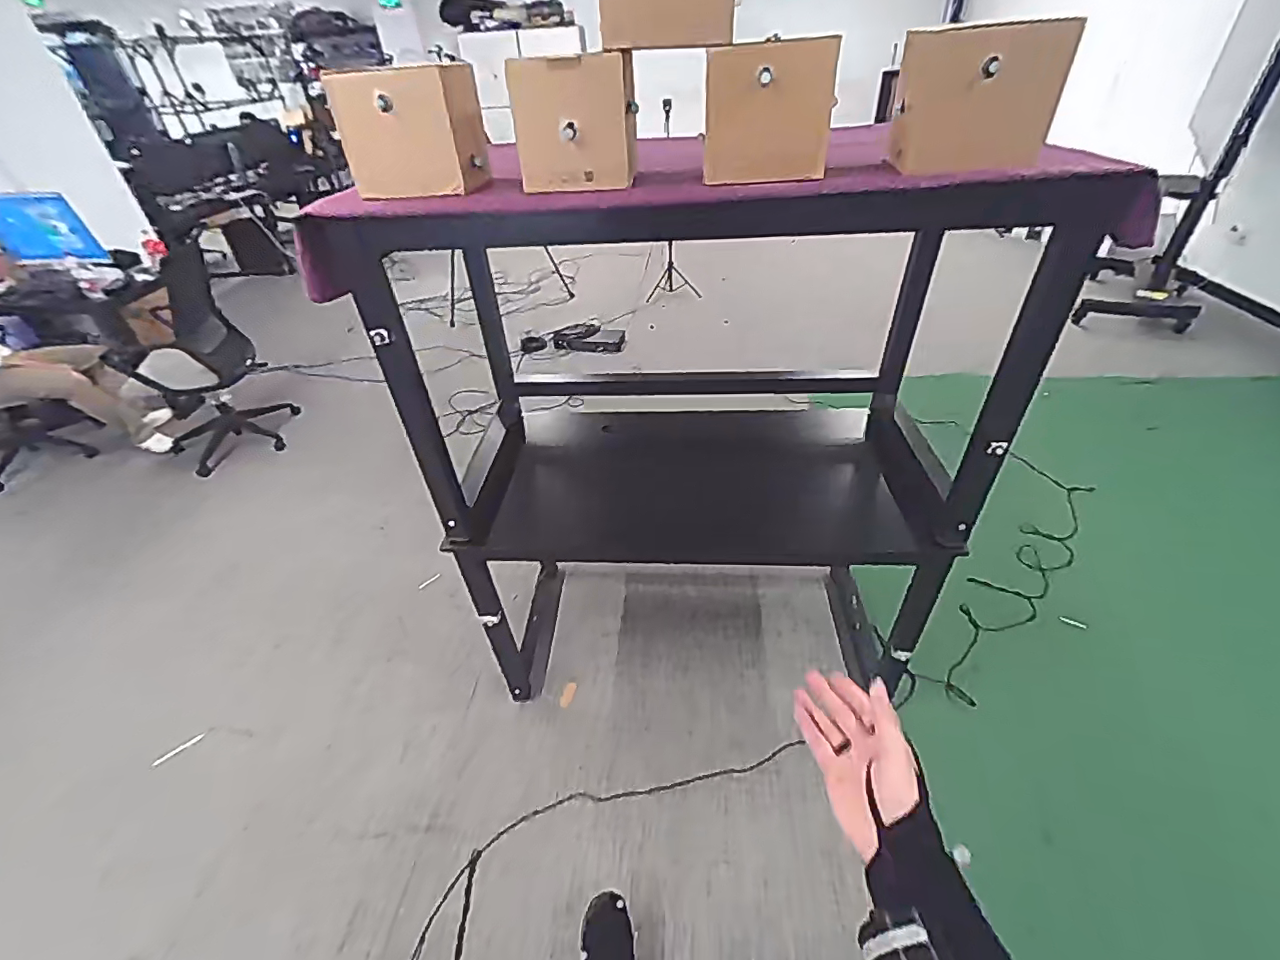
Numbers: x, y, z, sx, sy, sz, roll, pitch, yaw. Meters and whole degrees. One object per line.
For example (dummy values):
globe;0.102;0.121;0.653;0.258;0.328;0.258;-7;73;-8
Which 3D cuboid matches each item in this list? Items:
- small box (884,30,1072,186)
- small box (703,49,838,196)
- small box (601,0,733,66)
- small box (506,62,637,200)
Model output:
small box;0.472;-0.542;0.795;0.179;0.176;0.168;2;40;9
small box;0.186;-0.546;0.828;0.179;0.176;0.168;0;37;6
small box;0.037;-0.680;0.744;0.179;0.176;0.168;0;37;3
small box;-0.095;-0.548;0.853;0.168;0.176;0.179;0;38;4
